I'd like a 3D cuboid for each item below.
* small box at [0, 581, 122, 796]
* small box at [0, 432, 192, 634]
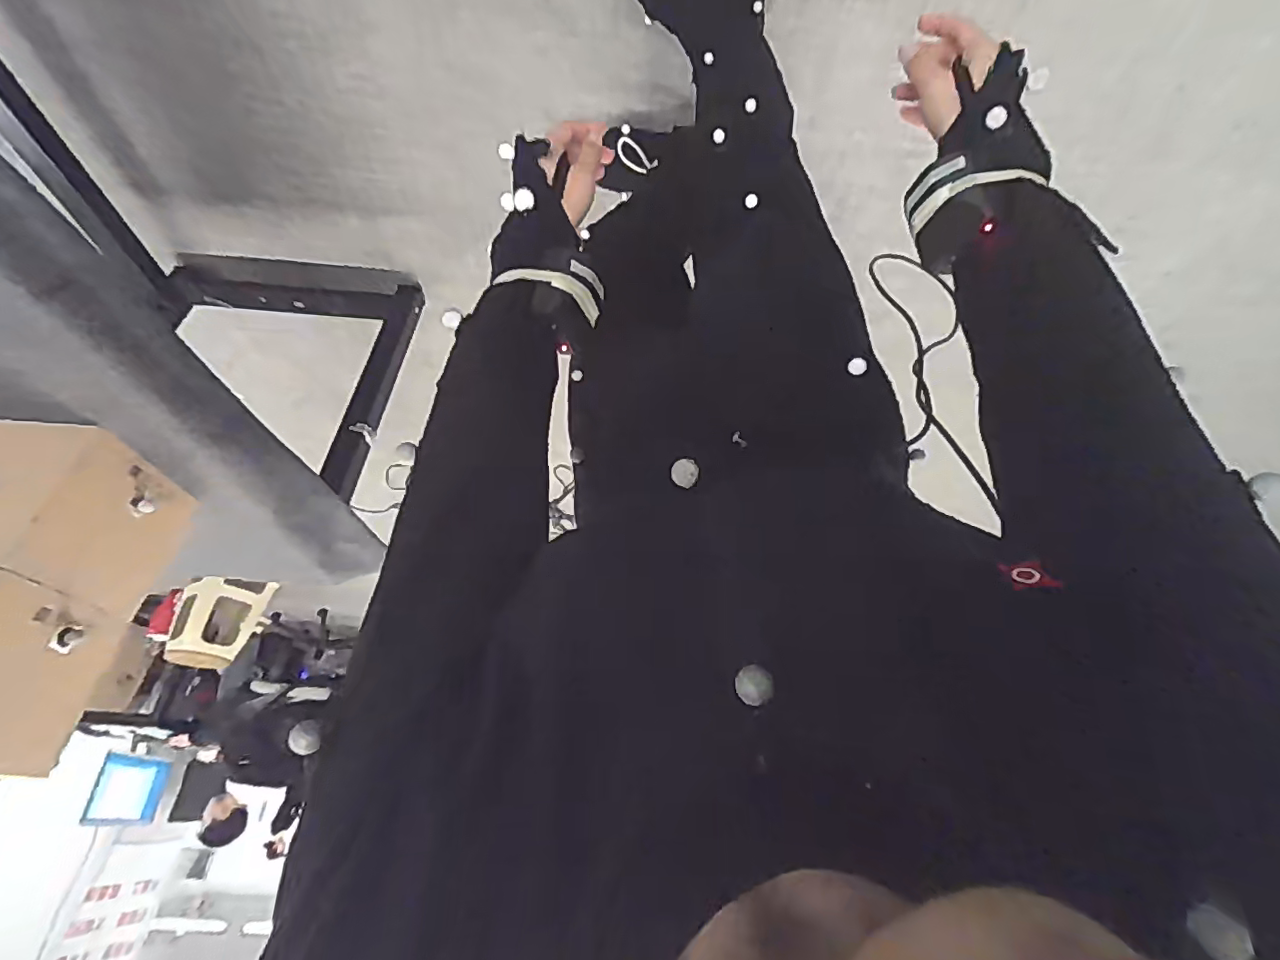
[{"bbox_3d":[-0.673,0.195,0.513,0.179,0.176,0.168,2,148,-1],"label":"small box"},{"bbox_3d":[-0.667,0.059,0.601,0.179,0.176,0.168,3,147,-1],"label":"small box"}]
